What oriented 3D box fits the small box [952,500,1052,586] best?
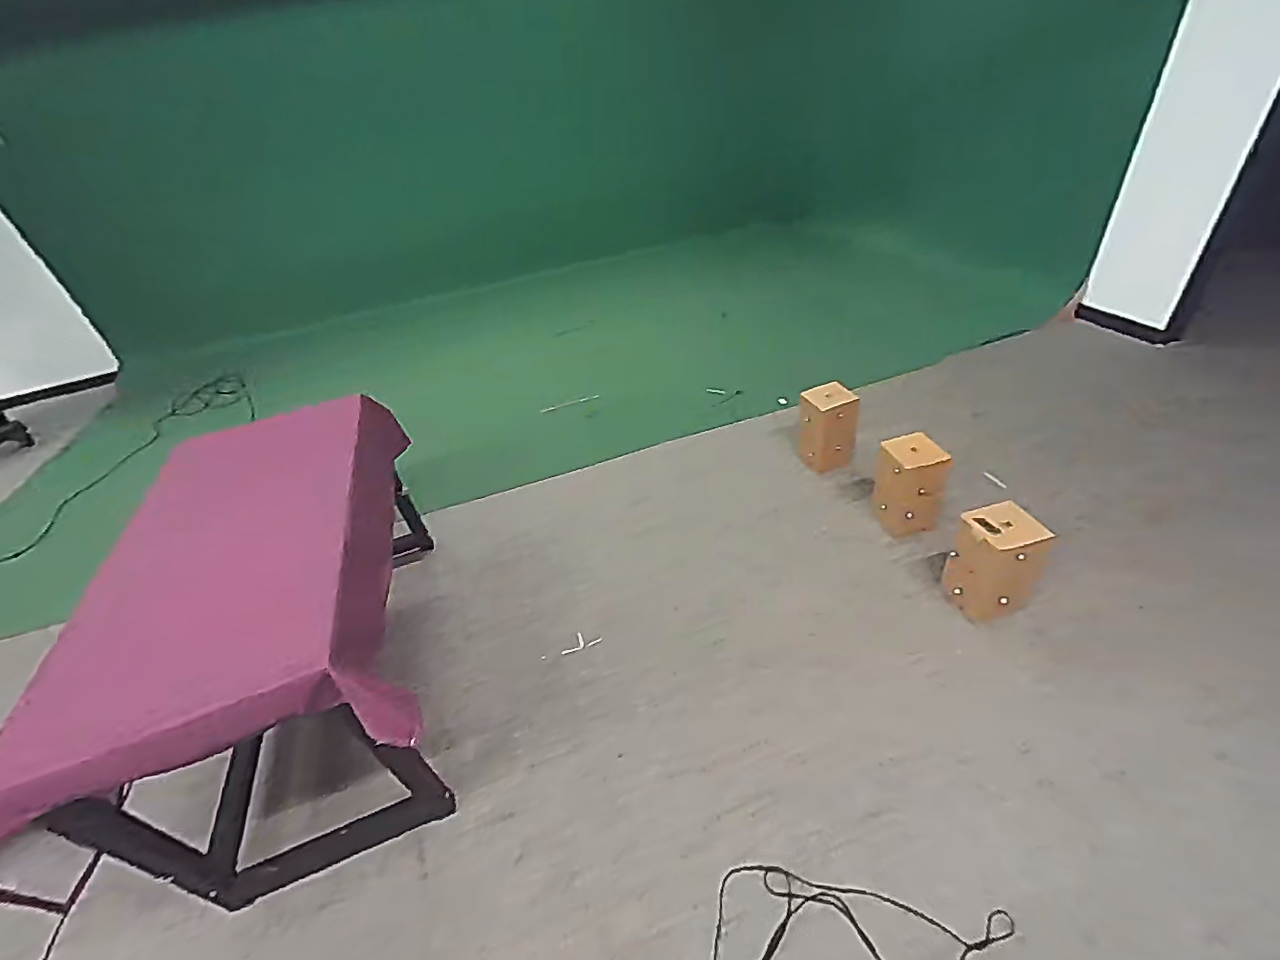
[{"bbox_3d":[1.061,0.190,1.604,0.179,0.176,0.168,-14,38,-5],"label":"small box"}]

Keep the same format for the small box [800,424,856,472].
[{"bbox_3d":[0.820,-0.158,2.365,0.179,0.176,0.168,-18,39,-9],"label":"small box"}]

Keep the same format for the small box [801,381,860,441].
[{"bbox_3d":[0.792,-0.285,2.264,0.179,0.176,0.168,-19,40,-10],"label":"small box"}]

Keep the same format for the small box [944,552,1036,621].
[{"bbox_3d":[1.090,0.317,1.706,0.179,0.176,0.168,-16,39,-5],"label":"small box"}]

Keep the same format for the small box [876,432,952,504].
[{"bbox_3d":[0.963,-0.043,1.921,0.168,0.176,0.179,-14,38,-5],"label":"small box"}]
